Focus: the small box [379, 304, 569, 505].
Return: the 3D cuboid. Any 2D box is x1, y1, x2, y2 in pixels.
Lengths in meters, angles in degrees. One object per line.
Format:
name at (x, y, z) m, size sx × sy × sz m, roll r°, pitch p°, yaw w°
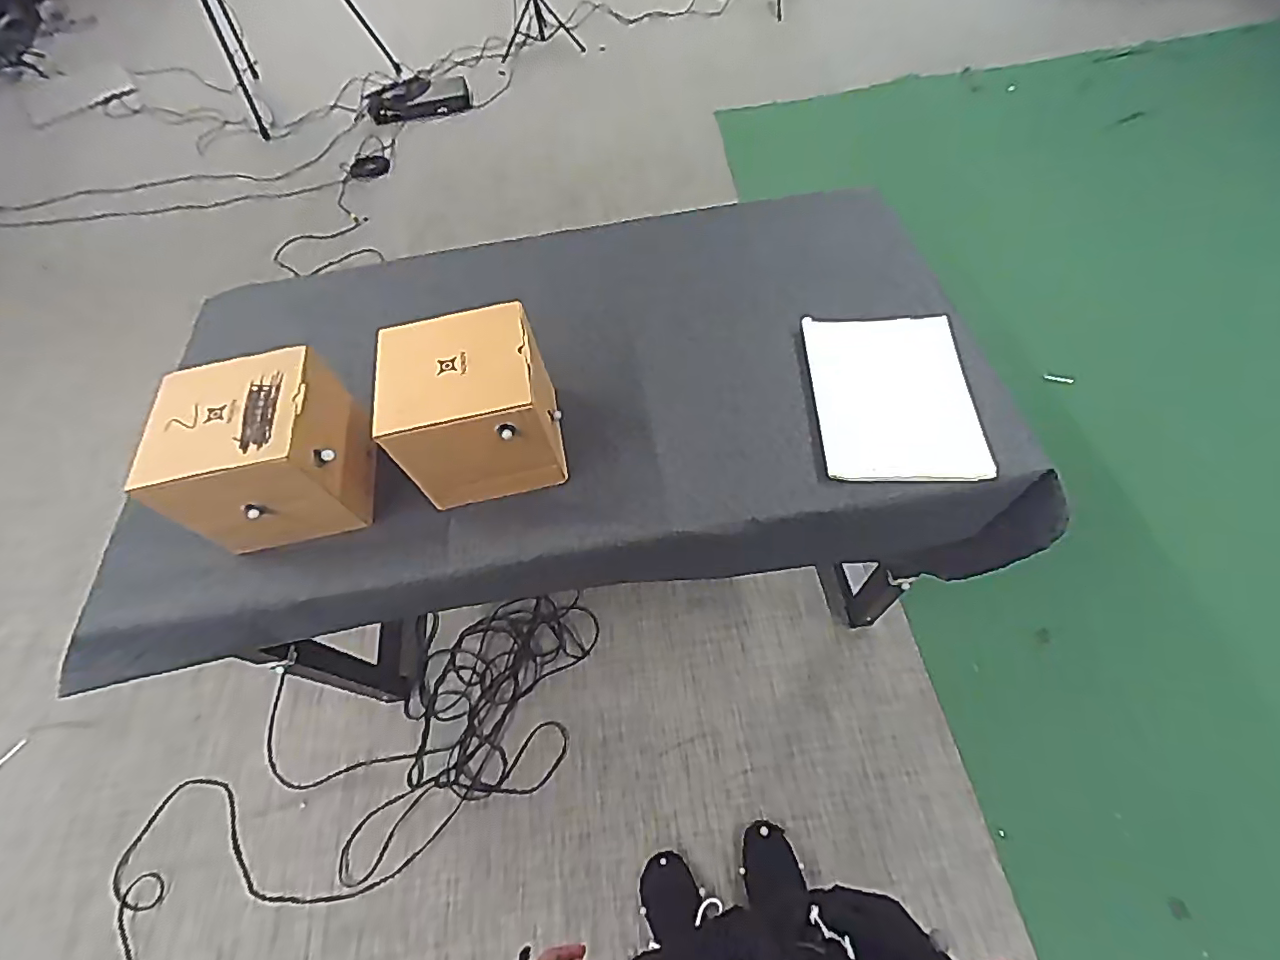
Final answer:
small box at (-0.199, -0.087, 0.682) m, size 0.179 × 0.176 × 0.168 m, roll -13°, pitch 59°, yaw -2°
